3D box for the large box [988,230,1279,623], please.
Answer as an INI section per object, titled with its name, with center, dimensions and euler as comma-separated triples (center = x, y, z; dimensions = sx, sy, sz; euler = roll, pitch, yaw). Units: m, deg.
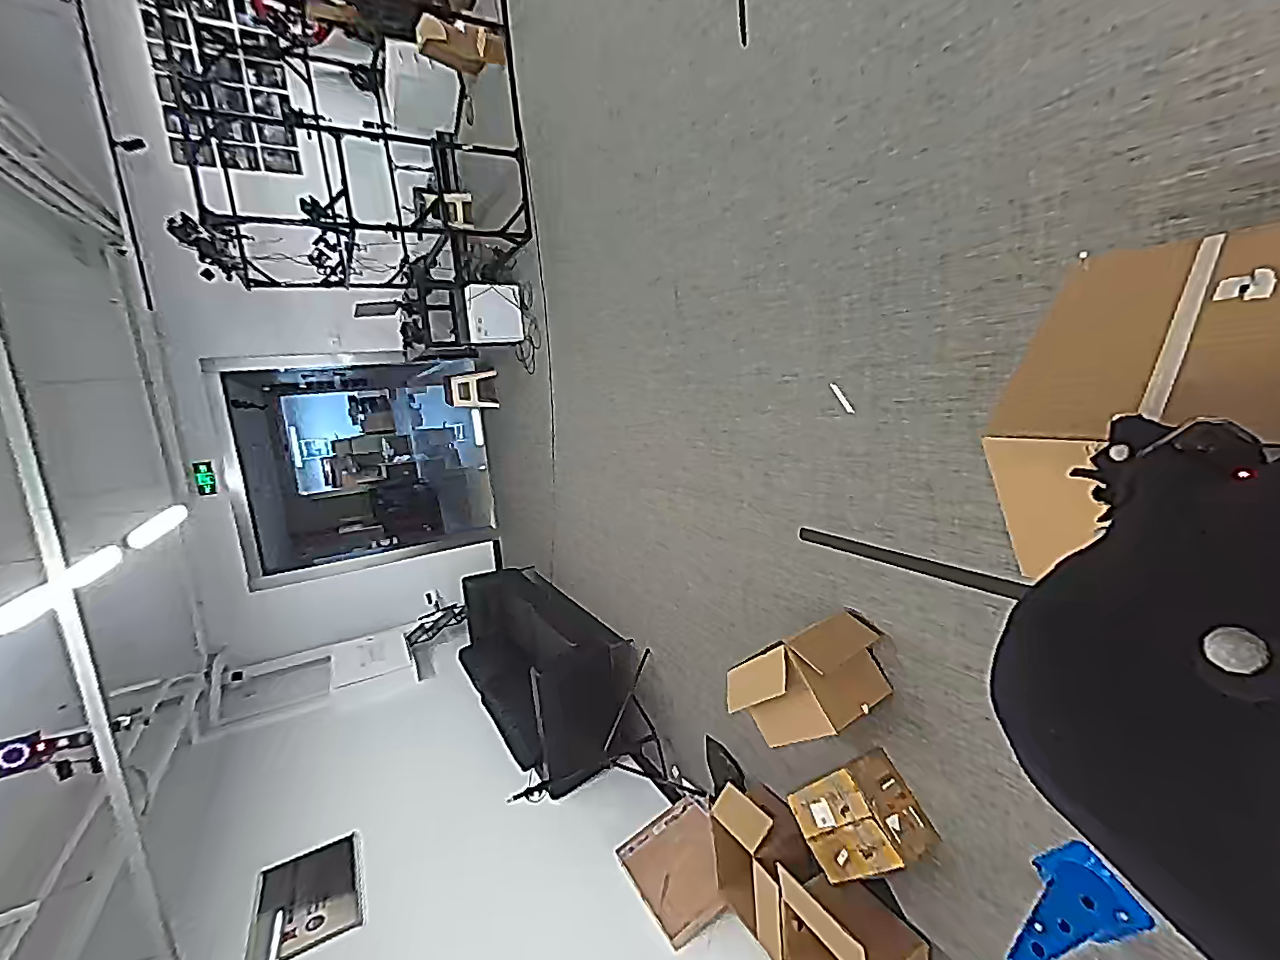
[large box]
center = 0.749, -0.076, 0.740
dimensions = 0.320, 0.408, 0.320
euler = 11, 144, 53
